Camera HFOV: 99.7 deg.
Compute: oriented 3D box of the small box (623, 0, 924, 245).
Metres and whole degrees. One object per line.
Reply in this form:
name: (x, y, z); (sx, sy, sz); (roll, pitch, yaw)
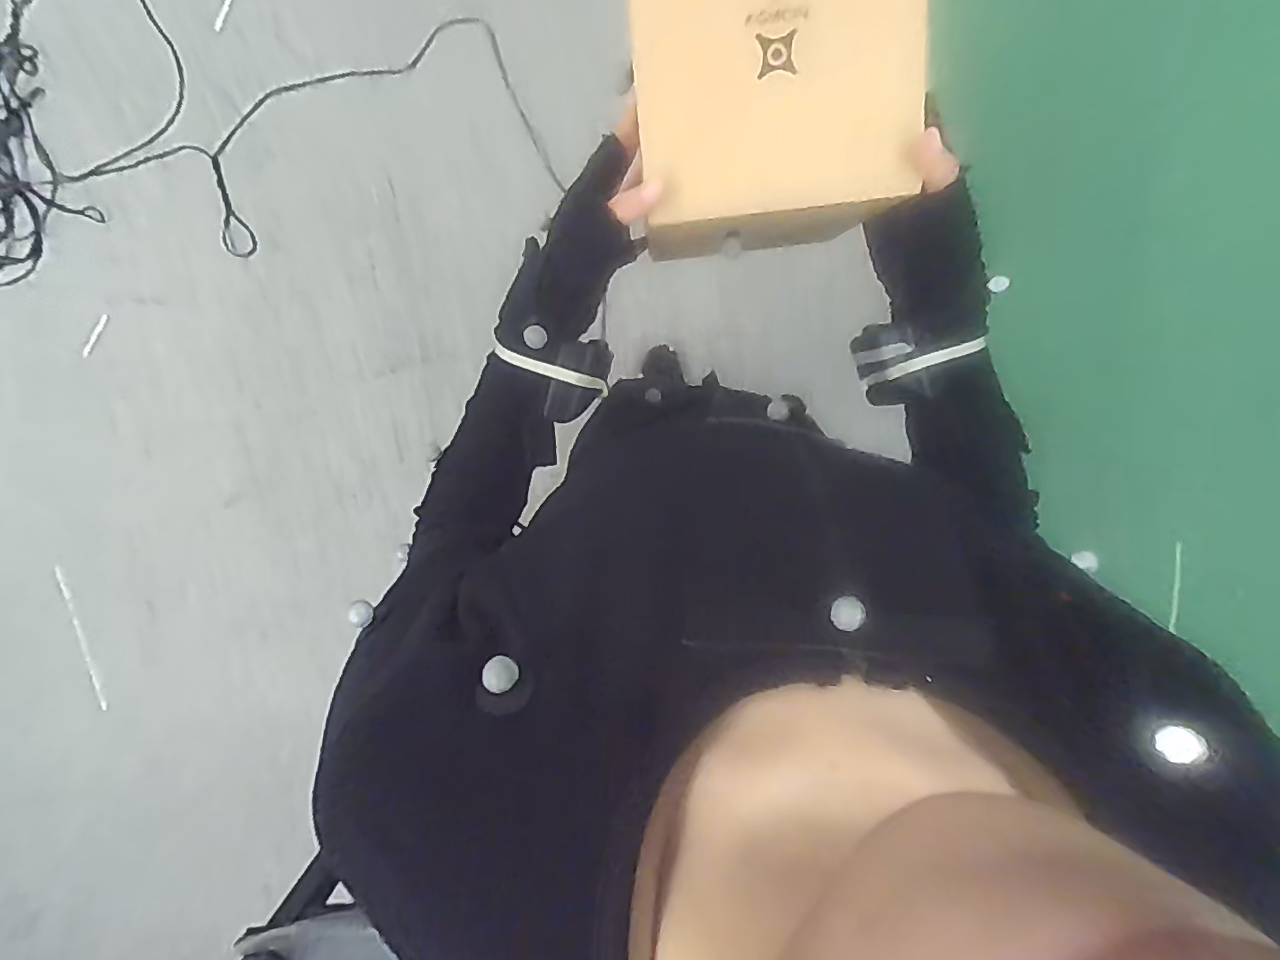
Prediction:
small box: (0.078, -0.274, 0.380); (0.168, 0.176, 0.179); (-6, 102, 4)
